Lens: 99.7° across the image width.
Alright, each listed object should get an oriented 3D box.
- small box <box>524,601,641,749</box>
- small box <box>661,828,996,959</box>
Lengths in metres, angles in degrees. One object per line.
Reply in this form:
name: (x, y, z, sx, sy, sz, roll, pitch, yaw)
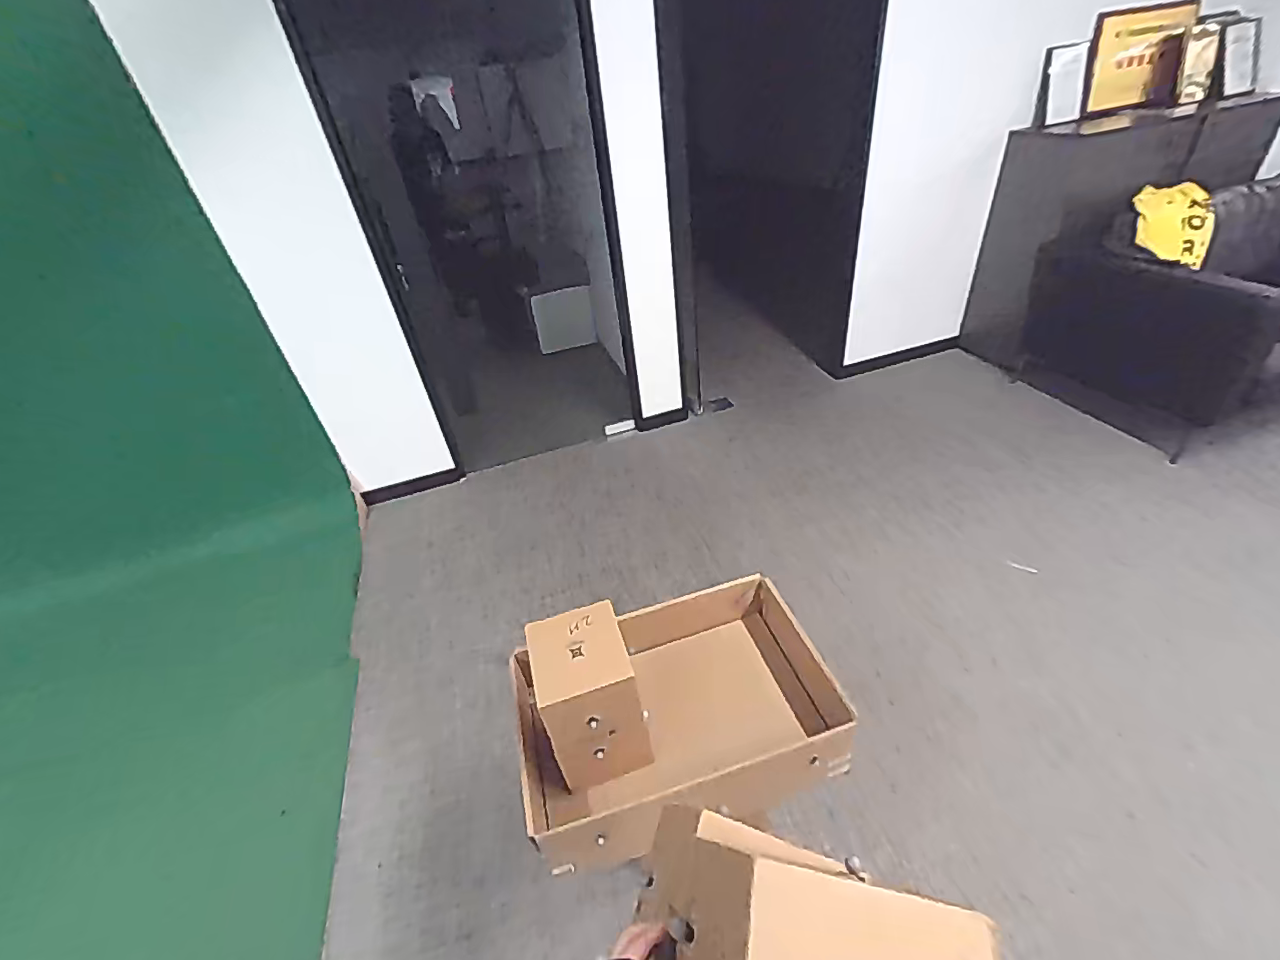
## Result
small box: (-0.102, 0.358, 0.979, 0.168, 0.176, 0.179, -15, 37, -9)
small box: (0.119, 0.364, 0.386, 0.179, 0.176, 0.168, 17, 58, -2)
